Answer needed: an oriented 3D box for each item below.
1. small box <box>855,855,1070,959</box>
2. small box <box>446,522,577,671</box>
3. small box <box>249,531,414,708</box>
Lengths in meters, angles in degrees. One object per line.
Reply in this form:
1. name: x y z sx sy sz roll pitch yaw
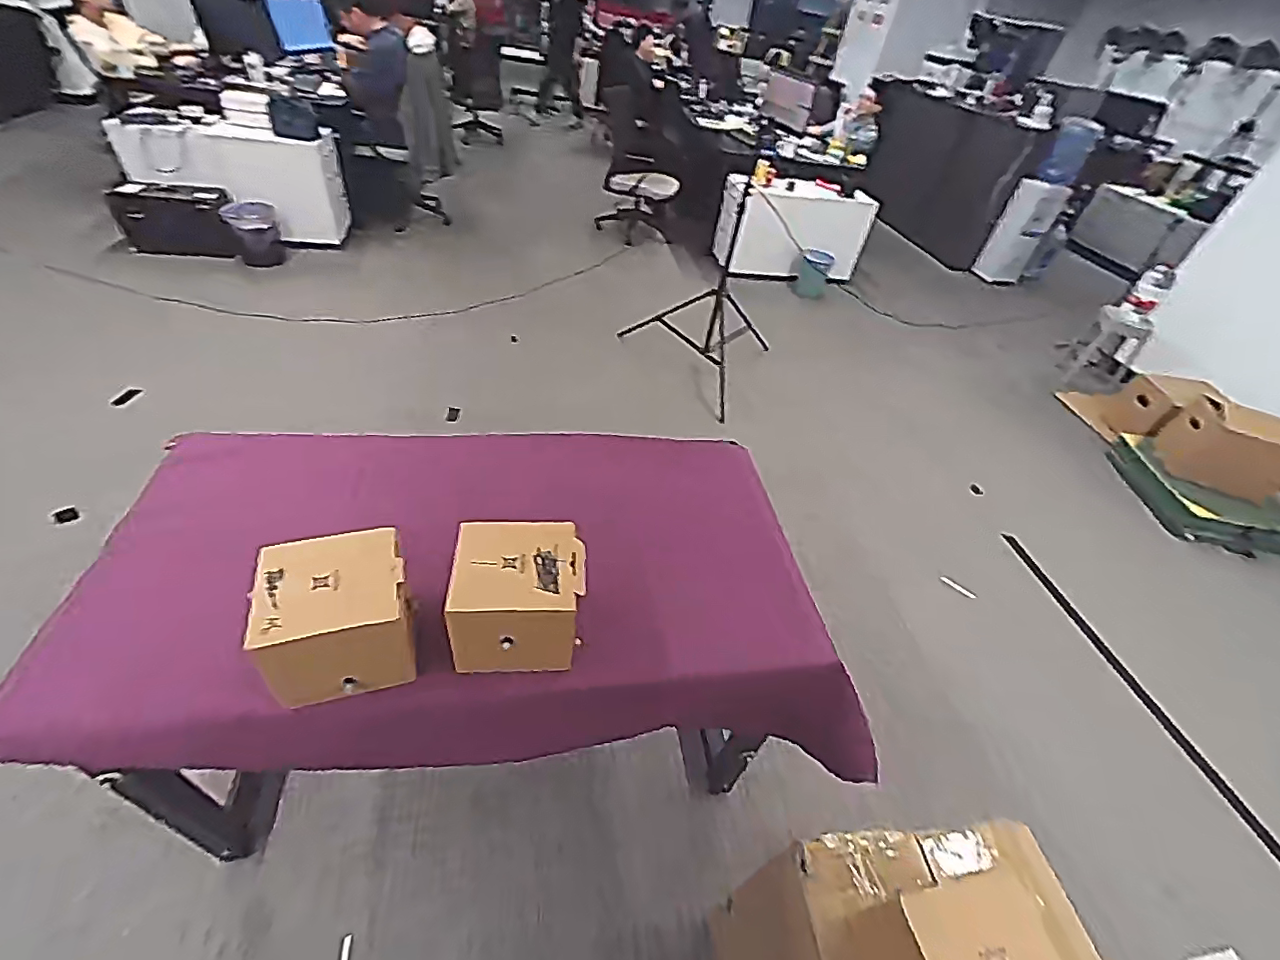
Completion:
1. small box: 0.397 0.599 0.663 0.168 0.176 0.179 -6 46 -13
2. small box: -0.192 0.183 0.846 0.179 0.176 0.168 1 42 -9
3. small box: -0.428 0.199 0.782 0.179 0.176 0.168 -8 44 -21
